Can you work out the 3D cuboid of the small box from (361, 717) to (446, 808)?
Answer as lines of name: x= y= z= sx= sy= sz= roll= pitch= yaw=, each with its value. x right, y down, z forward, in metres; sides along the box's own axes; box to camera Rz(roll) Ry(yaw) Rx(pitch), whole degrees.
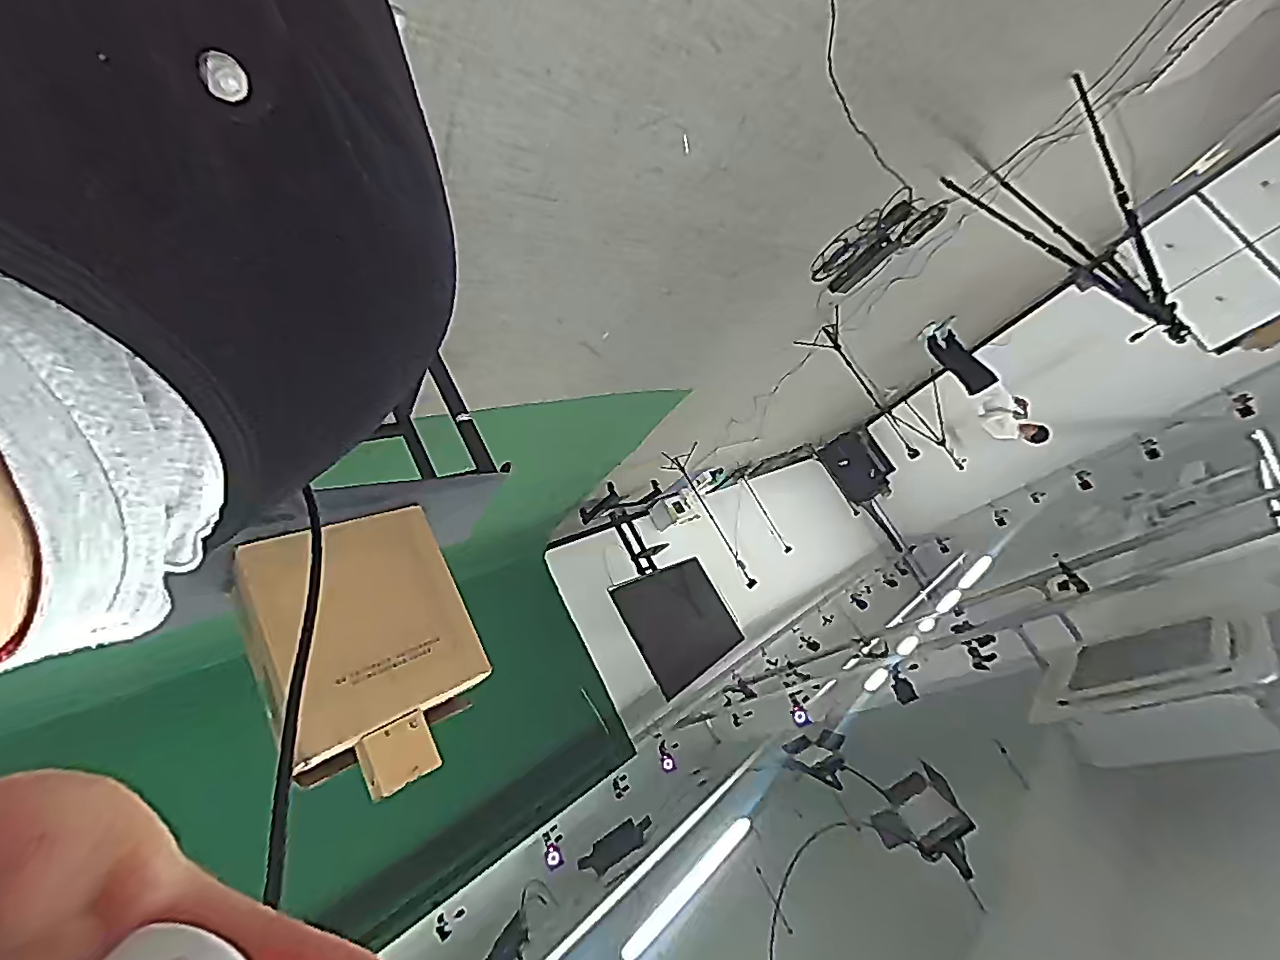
small box: x=-0.688 y=0.811 z=1.563 sx=0.168 sy=0.176 sz=0.179 roll=-16 pitch=160 yaw=-41
